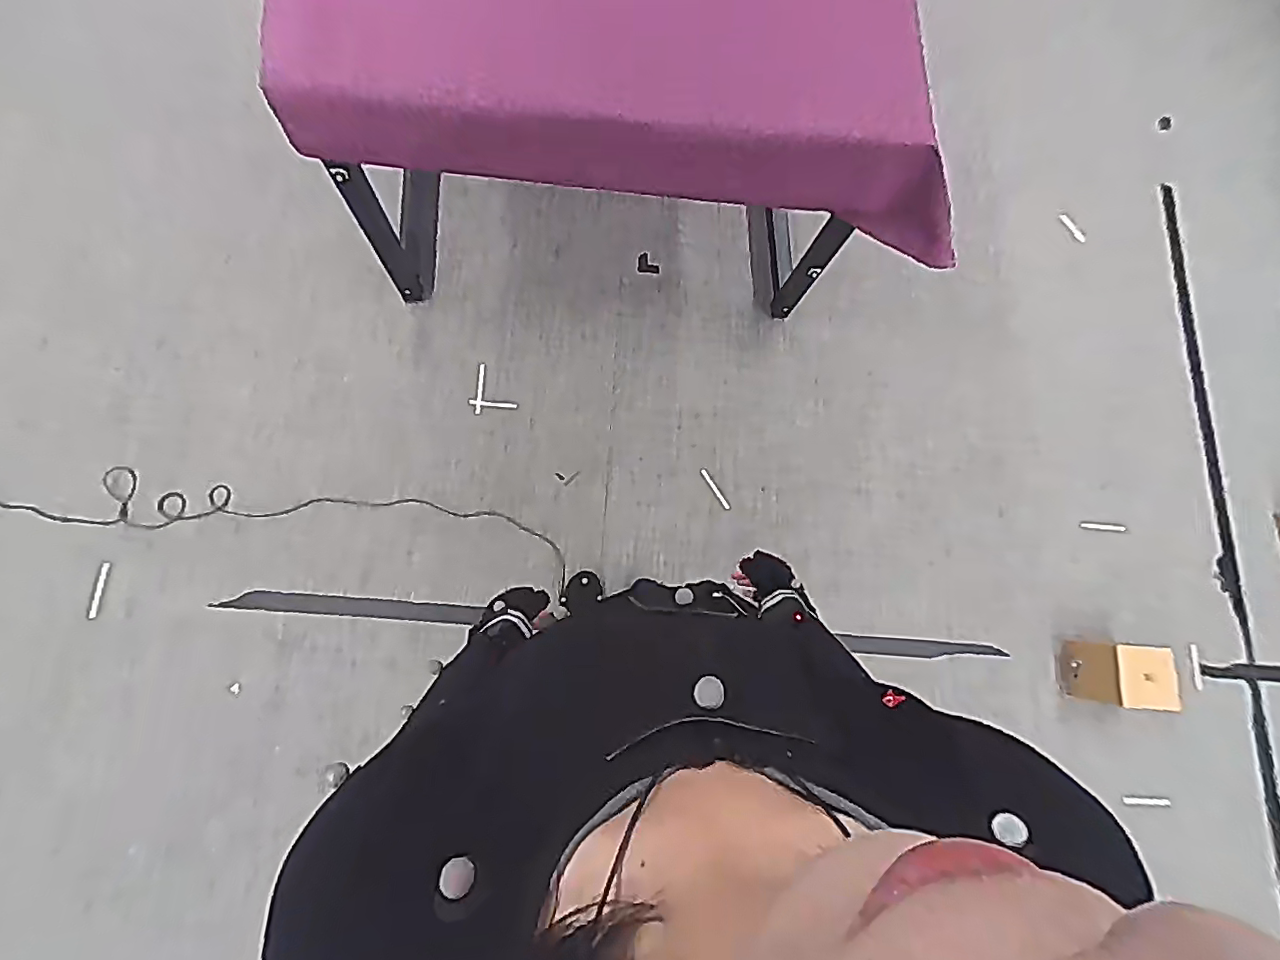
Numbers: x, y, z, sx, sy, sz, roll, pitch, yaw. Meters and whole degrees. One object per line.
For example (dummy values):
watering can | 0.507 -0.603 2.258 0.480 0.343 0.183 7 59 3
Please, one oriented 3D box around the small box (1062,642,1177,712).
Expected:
small box | 1.371 0.560 1.555 0.179 0.176 0.168 5 77 -5
